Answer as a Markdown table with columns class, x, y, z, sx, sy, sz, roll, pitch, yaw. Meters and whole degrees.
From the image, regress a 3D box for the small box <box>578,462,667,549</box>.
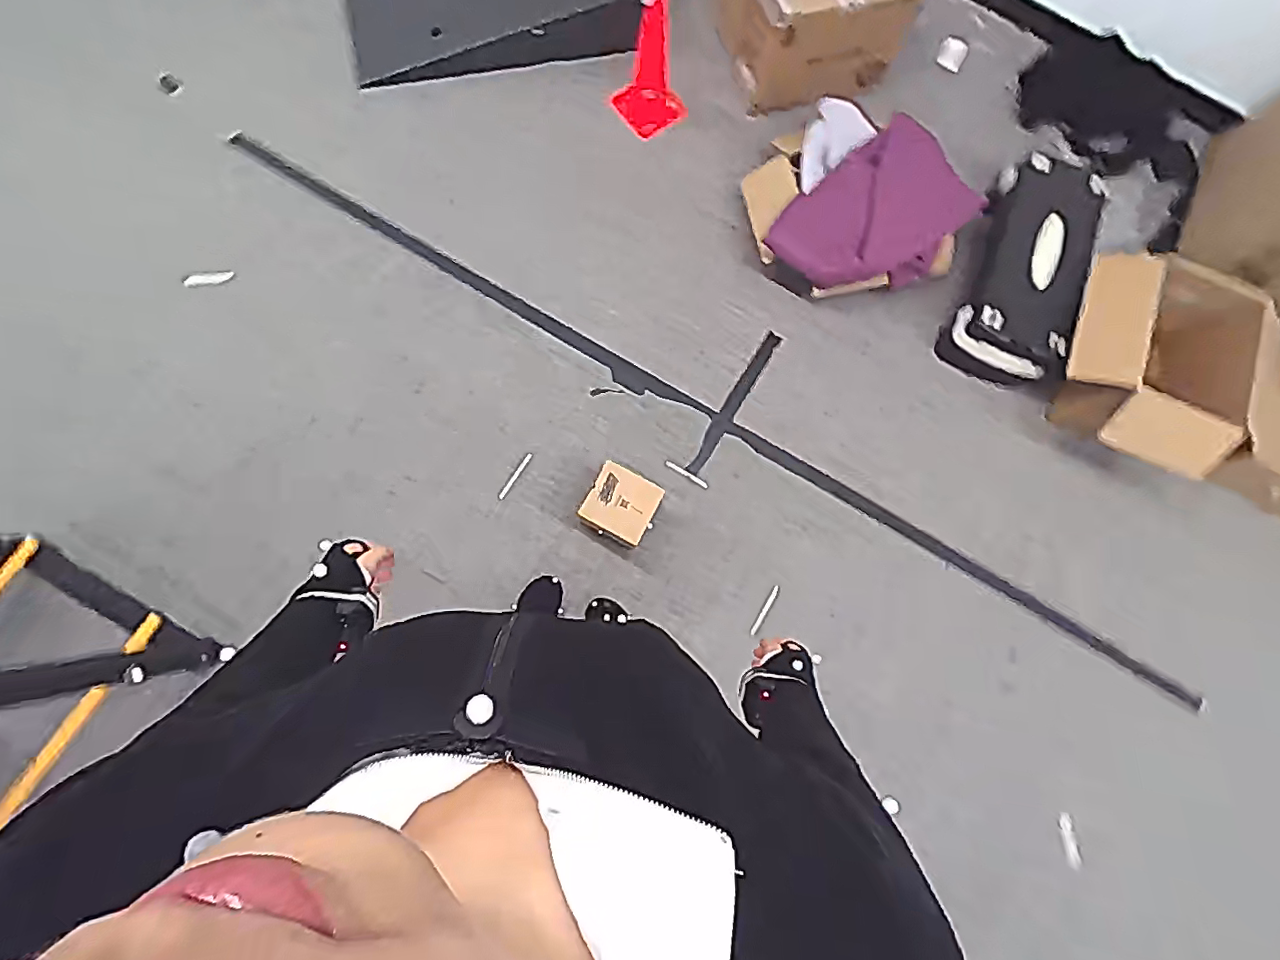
| class | x | y | z | sx | sy | sz | roll | pitch | yaw |
| --- | --- | --- | --- | --- | --- | --- | --- | --- | --- |
| small box | -0.050 | 0.076 | 1.456 | 0.179 | 0.176 | 0.168 | 29 | 79 | 1 |
